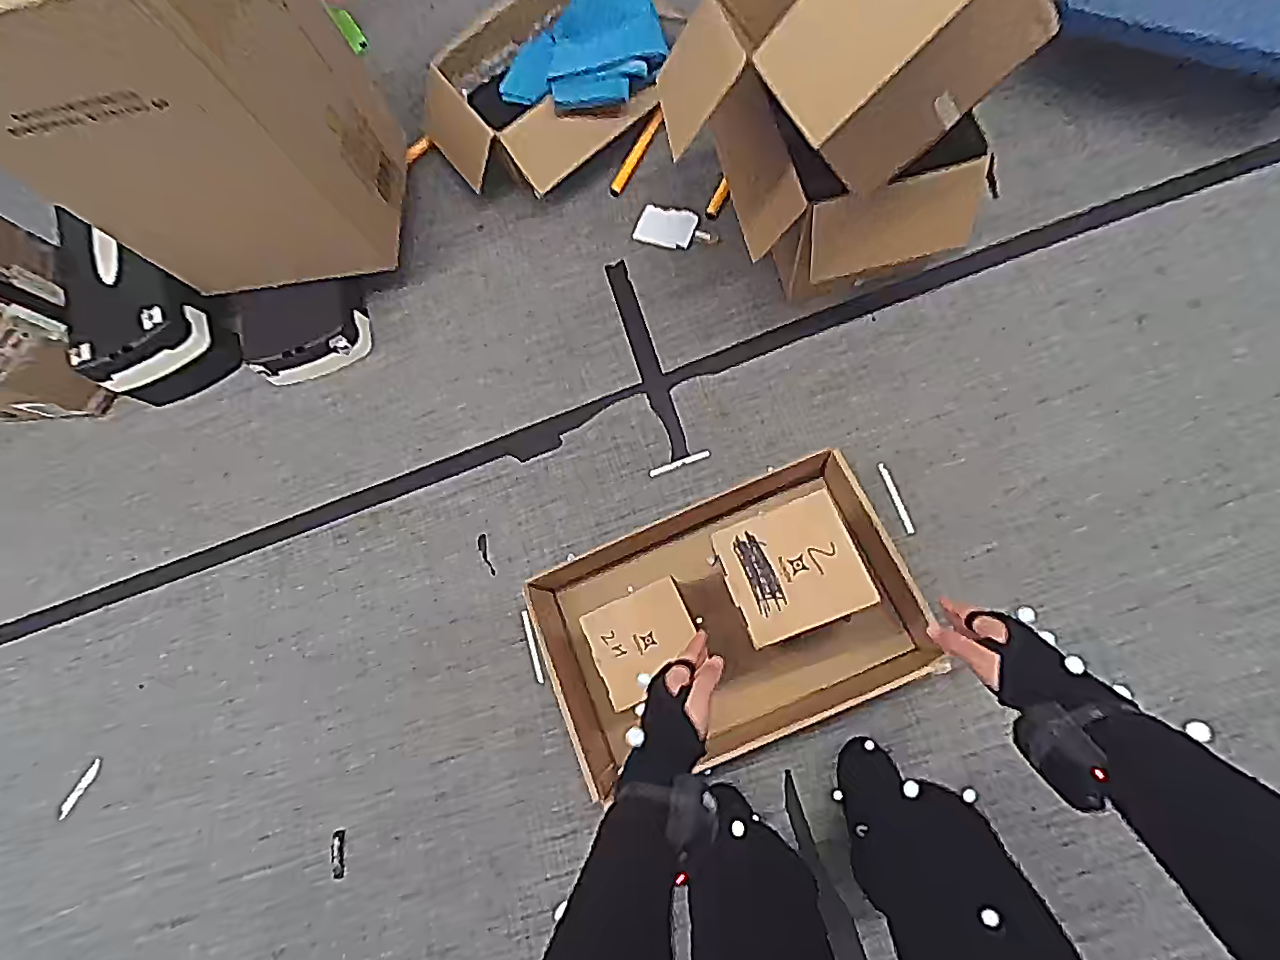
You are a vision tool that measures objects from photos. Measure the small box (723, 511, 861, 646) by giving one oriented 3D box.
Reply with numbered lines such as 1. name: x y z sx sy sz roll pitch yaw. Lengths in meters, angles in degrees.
1. small box: 0.255 0.178 0.952 0.168 0.176 0.179 -24 74 4

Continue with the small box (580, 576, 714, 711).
1. small box: 0.018 0.284 0.962 0.179 0.176 0.168 -25 73 1
